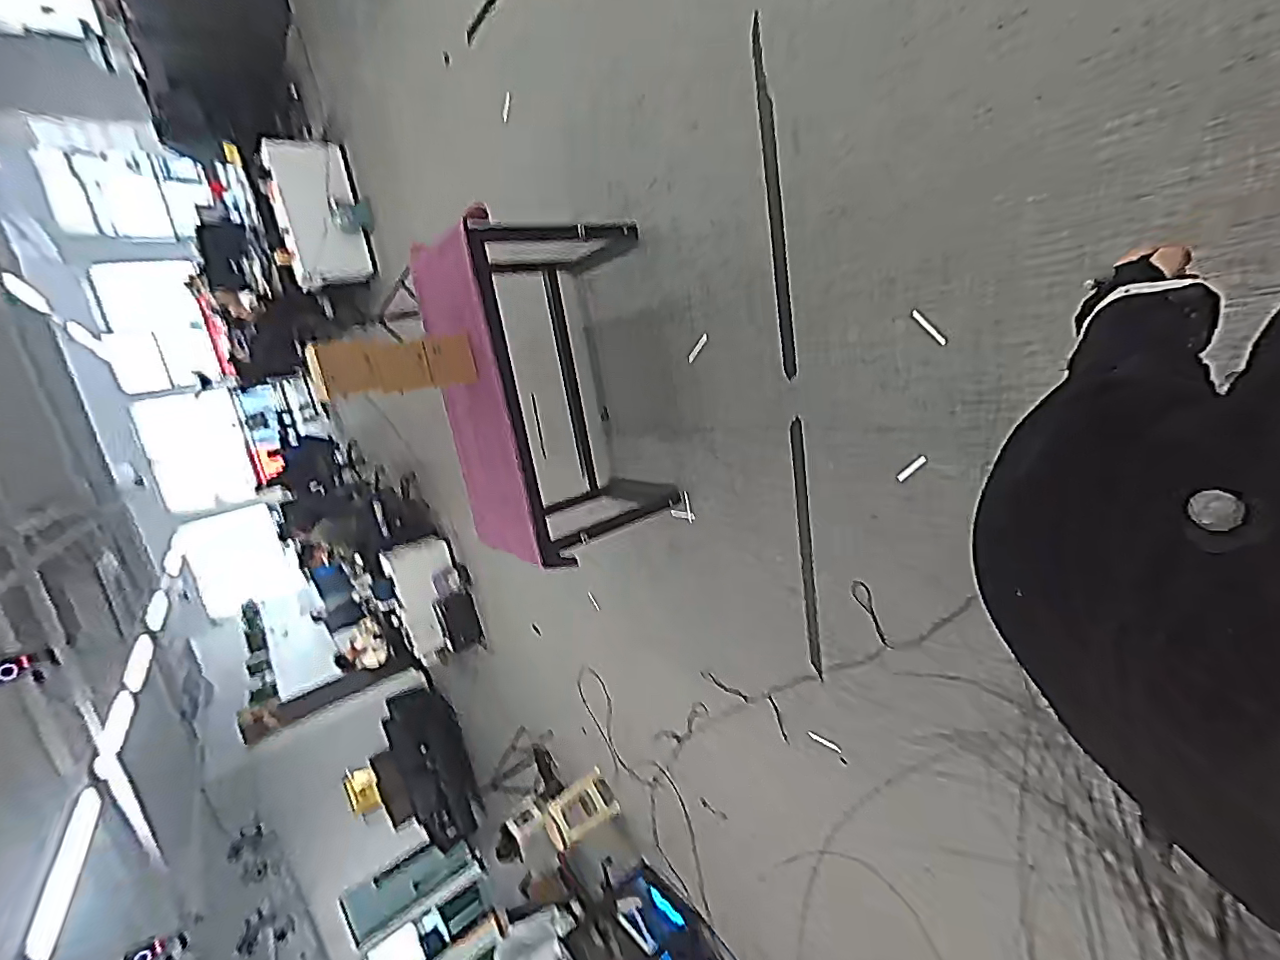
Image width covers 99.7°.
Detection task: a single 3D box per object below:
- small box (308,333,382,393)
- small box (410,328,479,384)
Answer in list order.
[{"bbox_3d":[-0.967,-0.383,1.776,0.179,0.176,0.168,6,111,53],"label":"small box"},{"bbox_3d":[-0.709,-0.453,1.968,0.168,0.176,0.179,6,111,53],"label":"small box"}]
